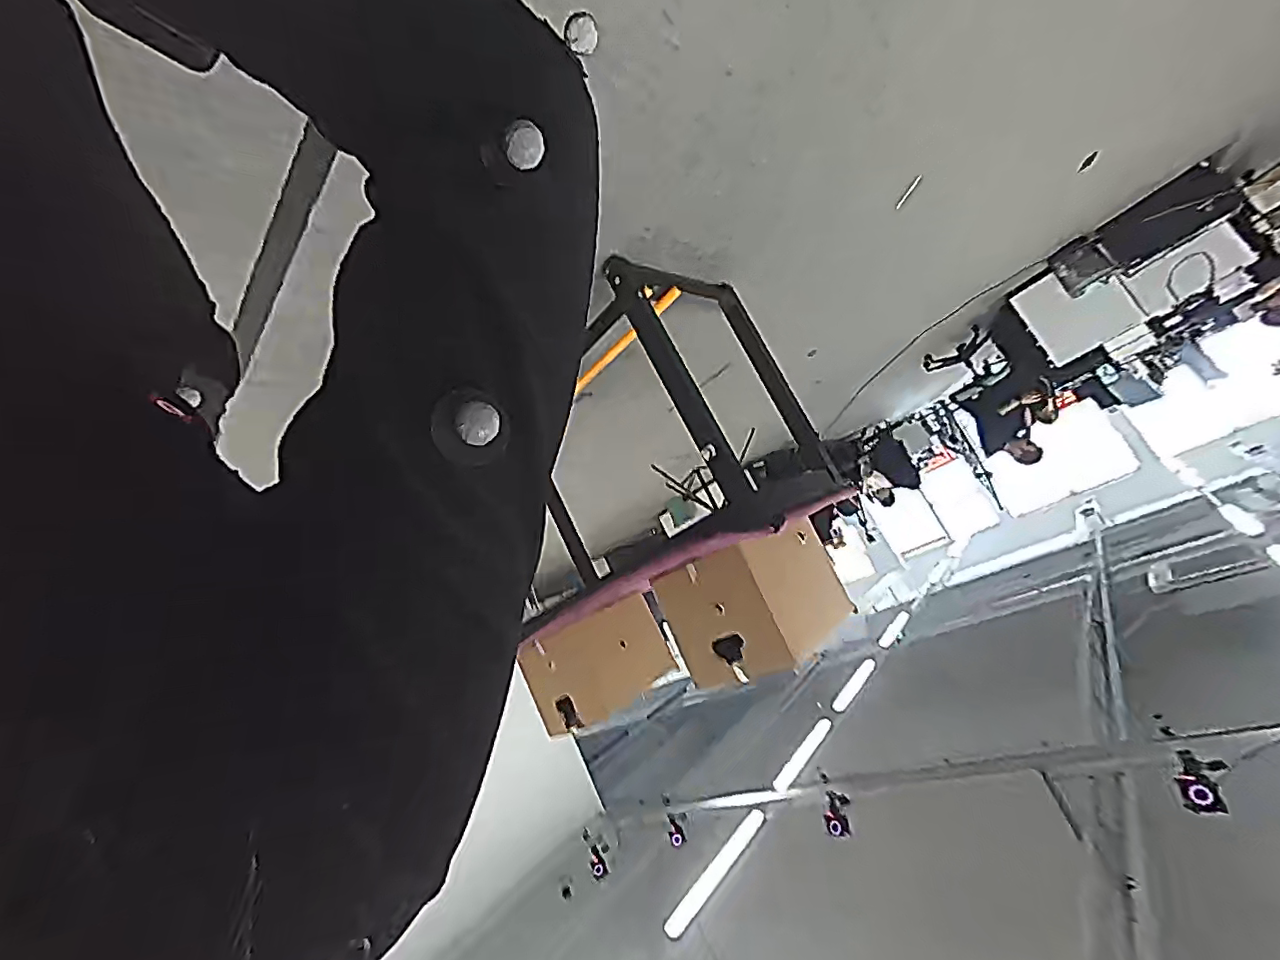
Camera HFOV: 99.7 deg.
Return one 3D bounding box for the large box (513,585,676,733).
[{"bbox_3d":[-0.159,0.613,1.890,0.320,0.320,0.408,-35,168,37],"label":"large box"}]
